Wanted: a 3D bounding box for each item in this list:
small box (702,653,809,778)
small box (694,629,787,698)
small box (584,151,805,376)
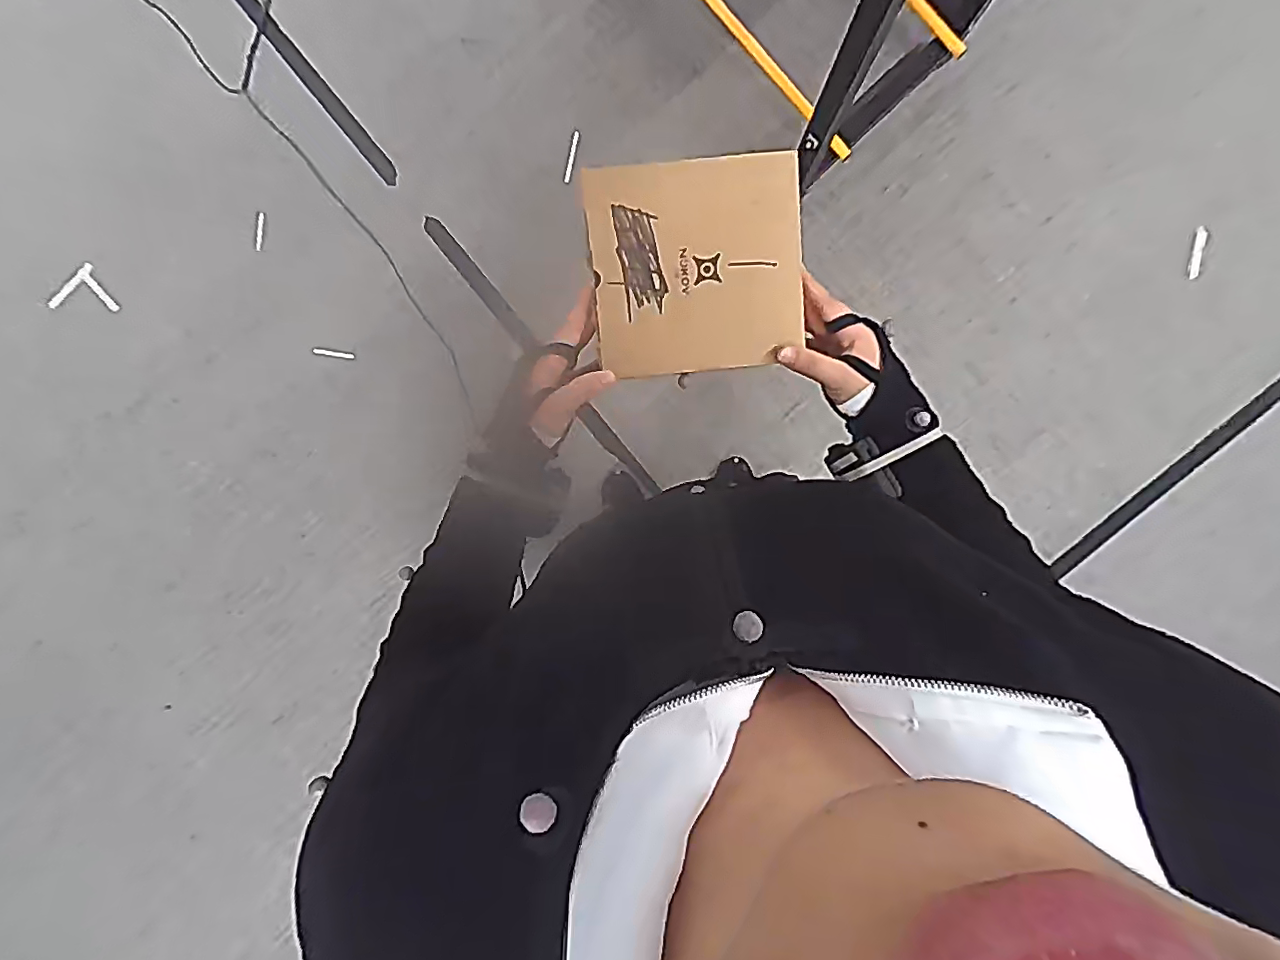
[{"bbox_3d":[0.264,0.544,1.276,0.168,0.176,0.179,-40,89,3],"label":"small box"},{"bbox_3d":[0.261,0.532,1.438,0.179,0.176,0.168,-41,90,4],"label":"small box"},{"bbox_3d":[0.045,-0.191,0.525,0.179,0.176,0.168,-6,101,-2],"label":"small box"}]
